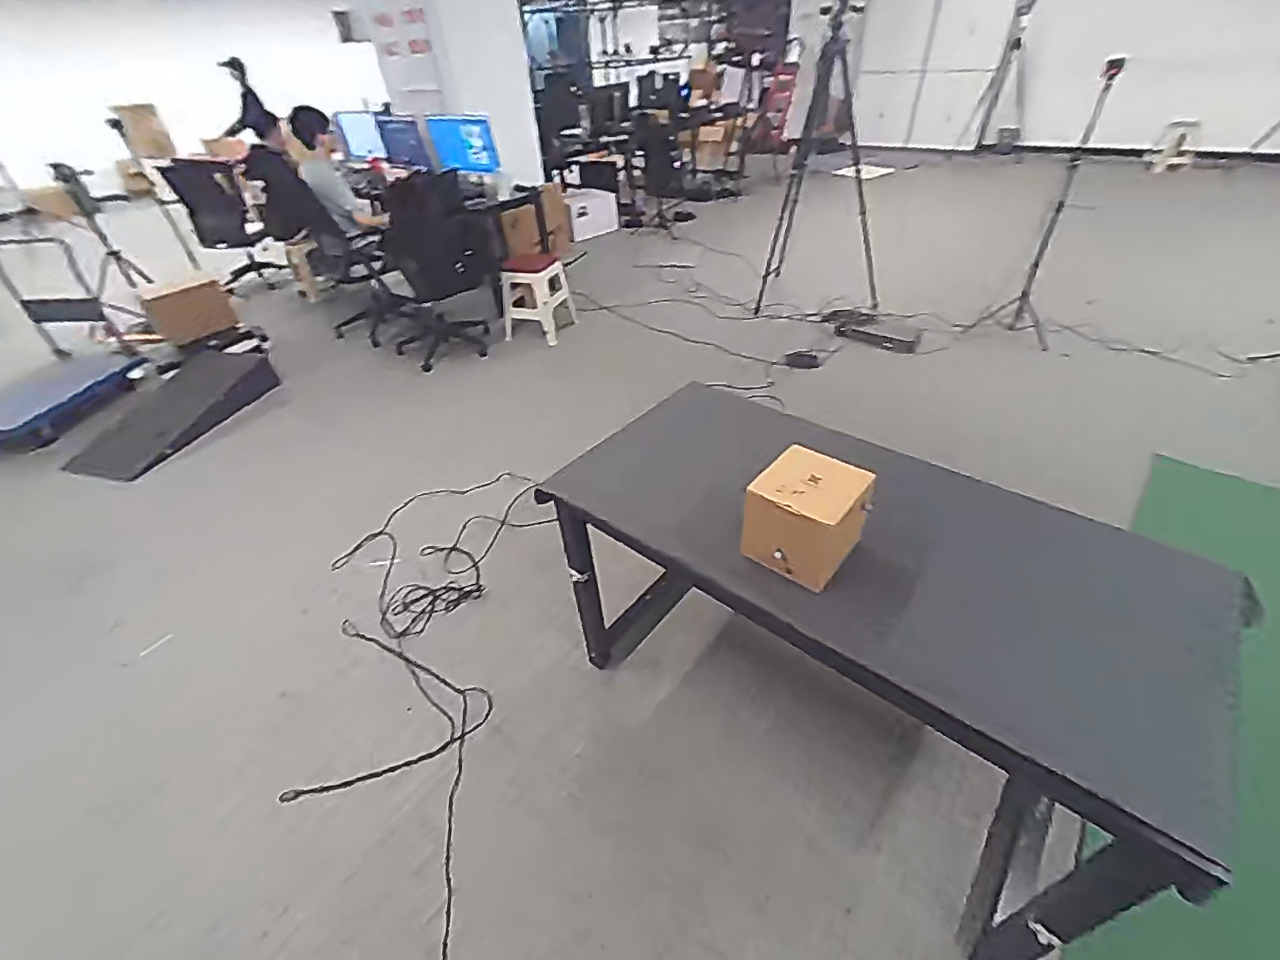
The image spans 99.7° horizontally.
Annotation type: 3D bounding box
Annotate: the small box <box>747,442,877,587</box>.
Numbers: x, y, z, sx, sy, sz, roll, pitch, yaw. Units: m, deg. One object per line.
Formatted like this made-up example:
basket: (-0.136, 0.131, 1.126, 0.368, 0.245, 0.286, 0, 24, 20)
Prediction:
small box: (0.311, 0.062, 1.007, 0.168, 0.176, 0.179, 26, 48, 33)
